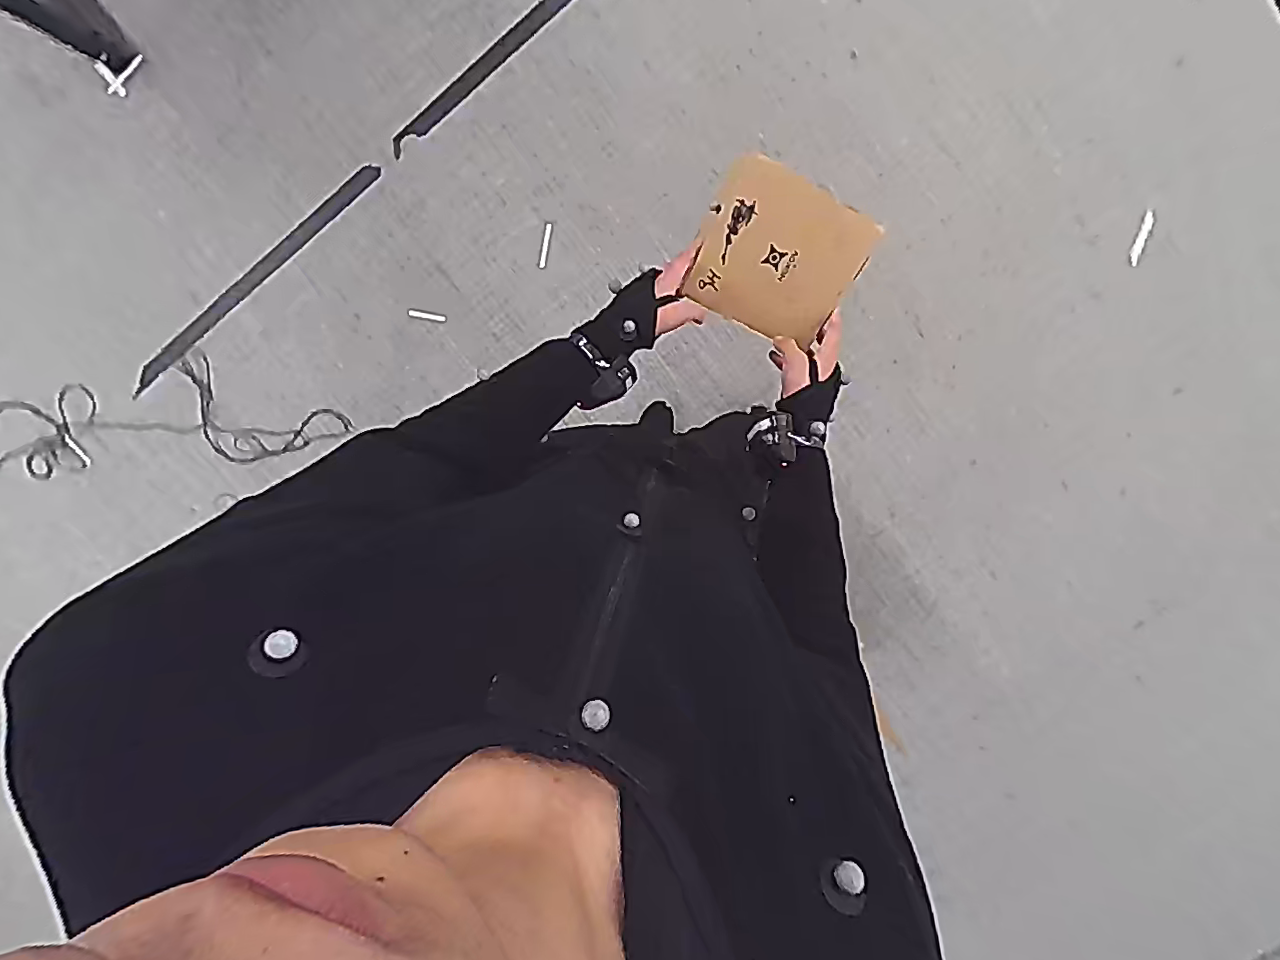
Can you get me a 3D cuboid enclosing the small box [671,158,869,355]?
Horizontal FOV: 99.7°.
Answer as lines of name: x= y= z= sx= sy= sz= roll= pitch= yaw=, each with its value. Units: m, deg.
small box: x=0.153 y=-0.293 z=0.702 sx=0.179 sy=0.176 sz=0.168 roll=23 pitch=117 yaw=-10
